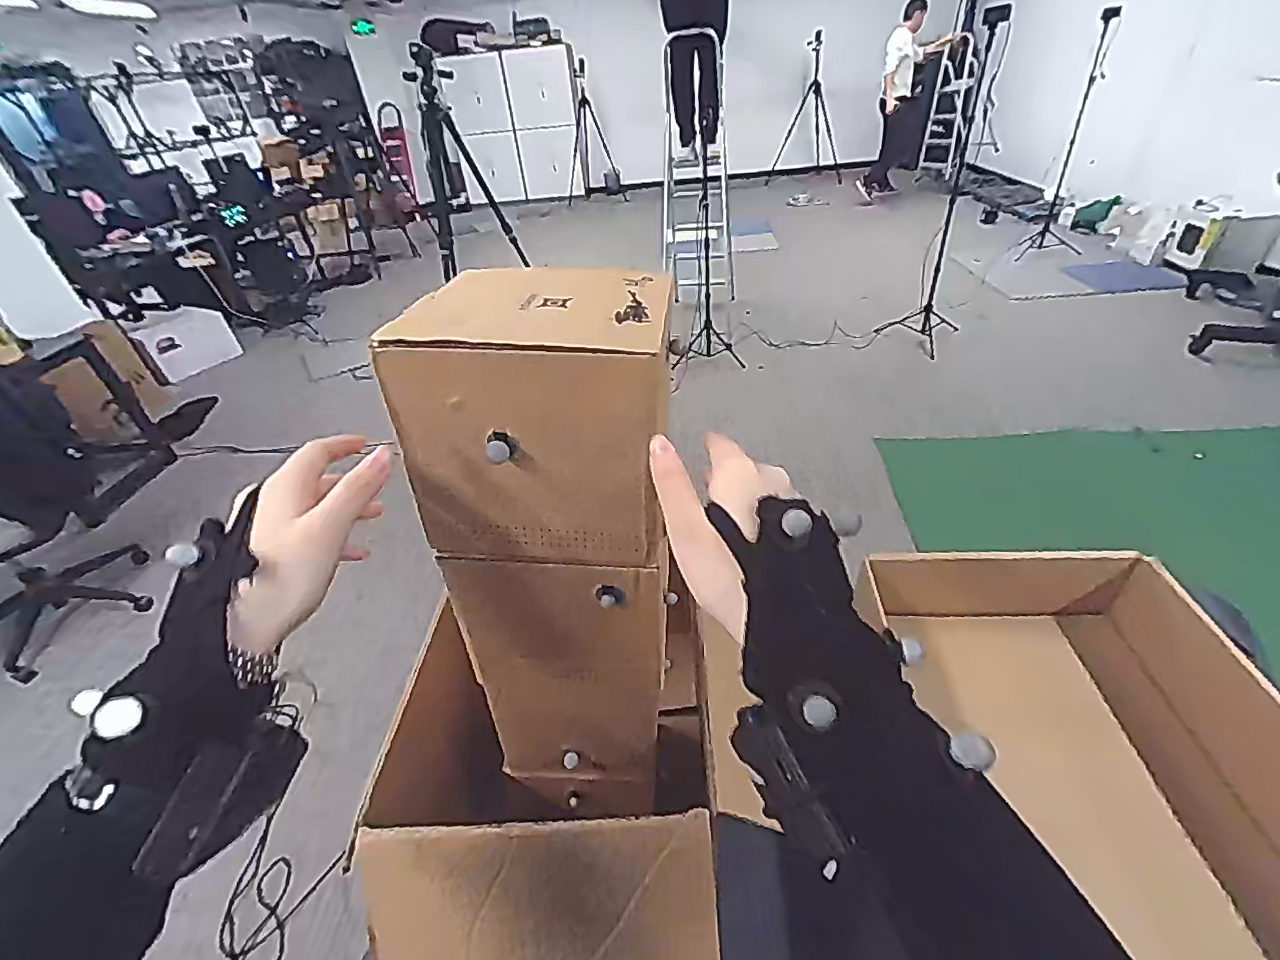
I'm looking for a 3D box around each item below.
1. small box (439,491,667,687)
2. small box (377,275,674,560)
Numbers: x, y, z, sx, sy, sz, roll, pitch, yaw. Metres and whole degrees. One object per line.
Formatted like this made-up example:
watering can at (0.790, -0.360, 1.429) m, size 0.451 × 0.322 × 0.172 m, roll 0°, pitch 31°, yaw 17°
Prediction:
small box at (-0.065, 0.081, 0.524) m, size 0.179 × 0.176 × 0.168 m, roll 3°, pitch 37°, yaw 3°
small box at (-0.065, -0.053, 0.428) m, size 0.179 × 0.176 × 0.168 m, roll 3°, pitch 37°, yaw 4°
